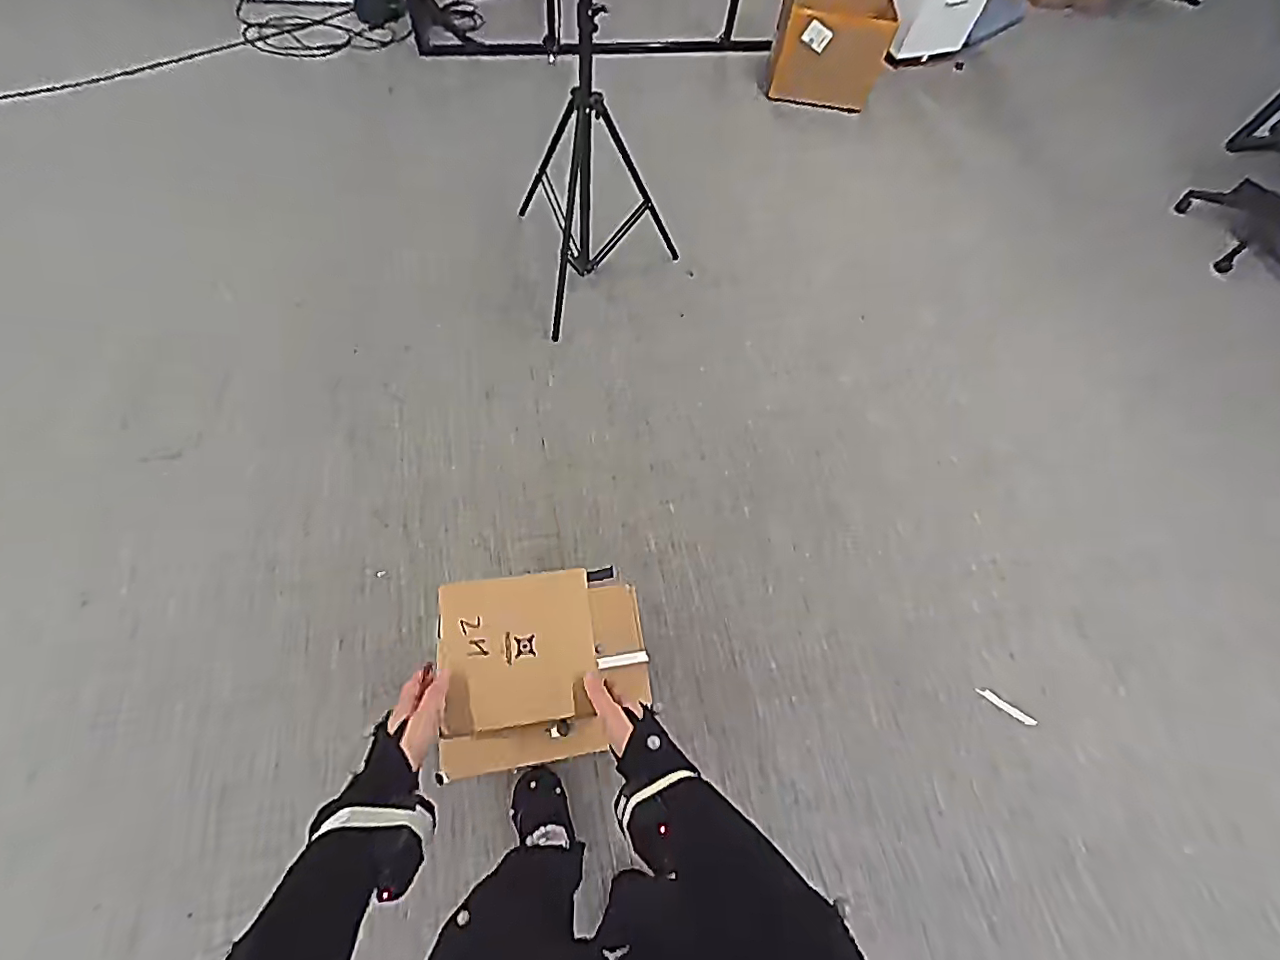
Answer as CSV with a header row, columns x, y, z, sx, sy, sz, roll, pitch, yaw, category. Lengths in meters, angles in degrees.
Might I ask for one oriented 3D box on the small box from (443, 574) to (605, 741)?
x,y,z,sx,sy,sz,roll,pitch,yaw,category
-0.144,0.227,0.690,0.179,0.176,0.168,-6,66,-8,small box
